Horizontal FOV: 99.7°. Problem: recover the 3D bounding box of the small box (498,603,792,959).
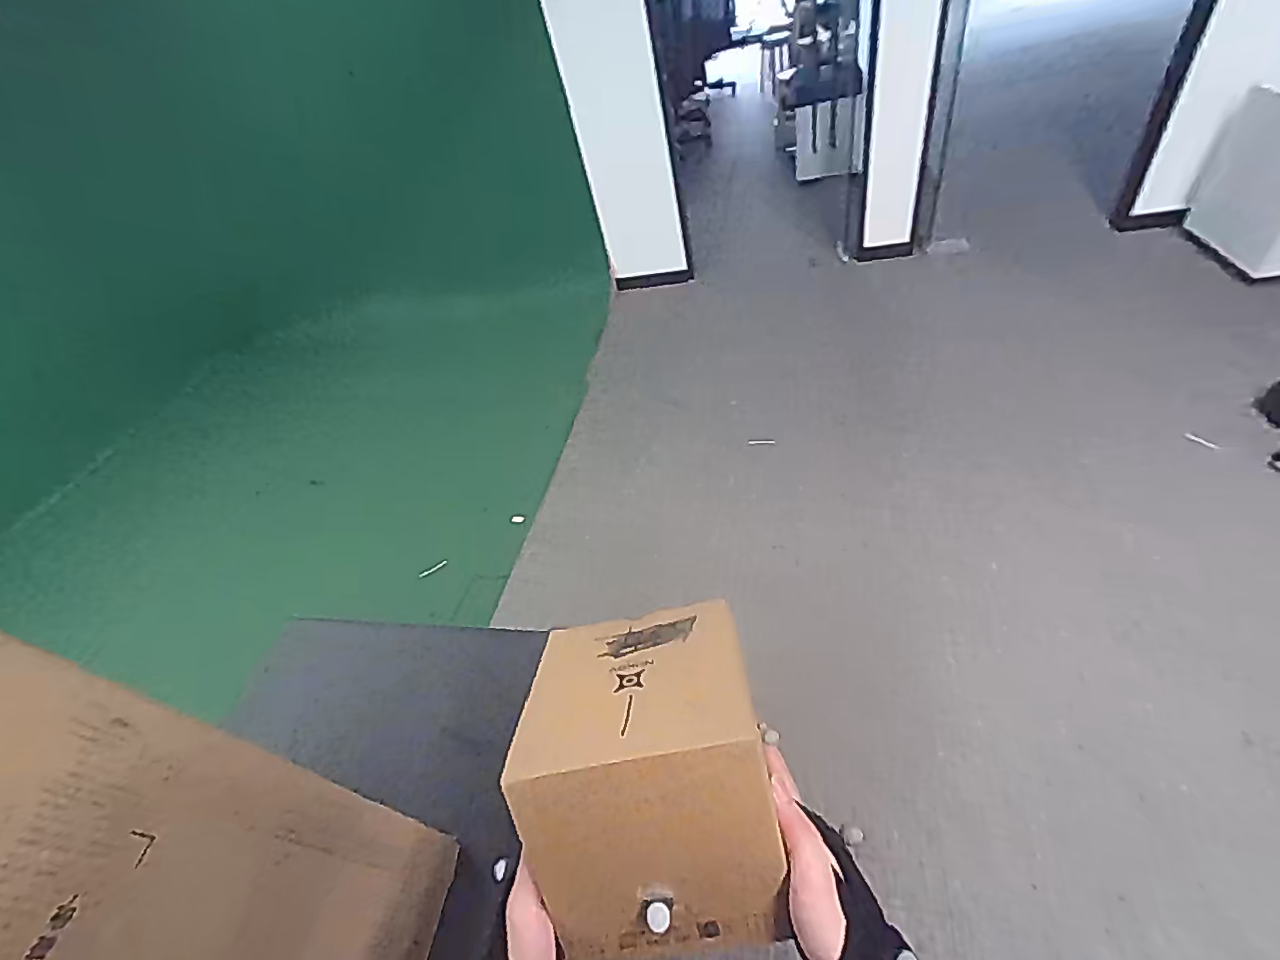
[{"bbox_3d":[0.012,0.225,0.428,0.168,0.176,0.179,-13,16,7],"label":"small box"}]
